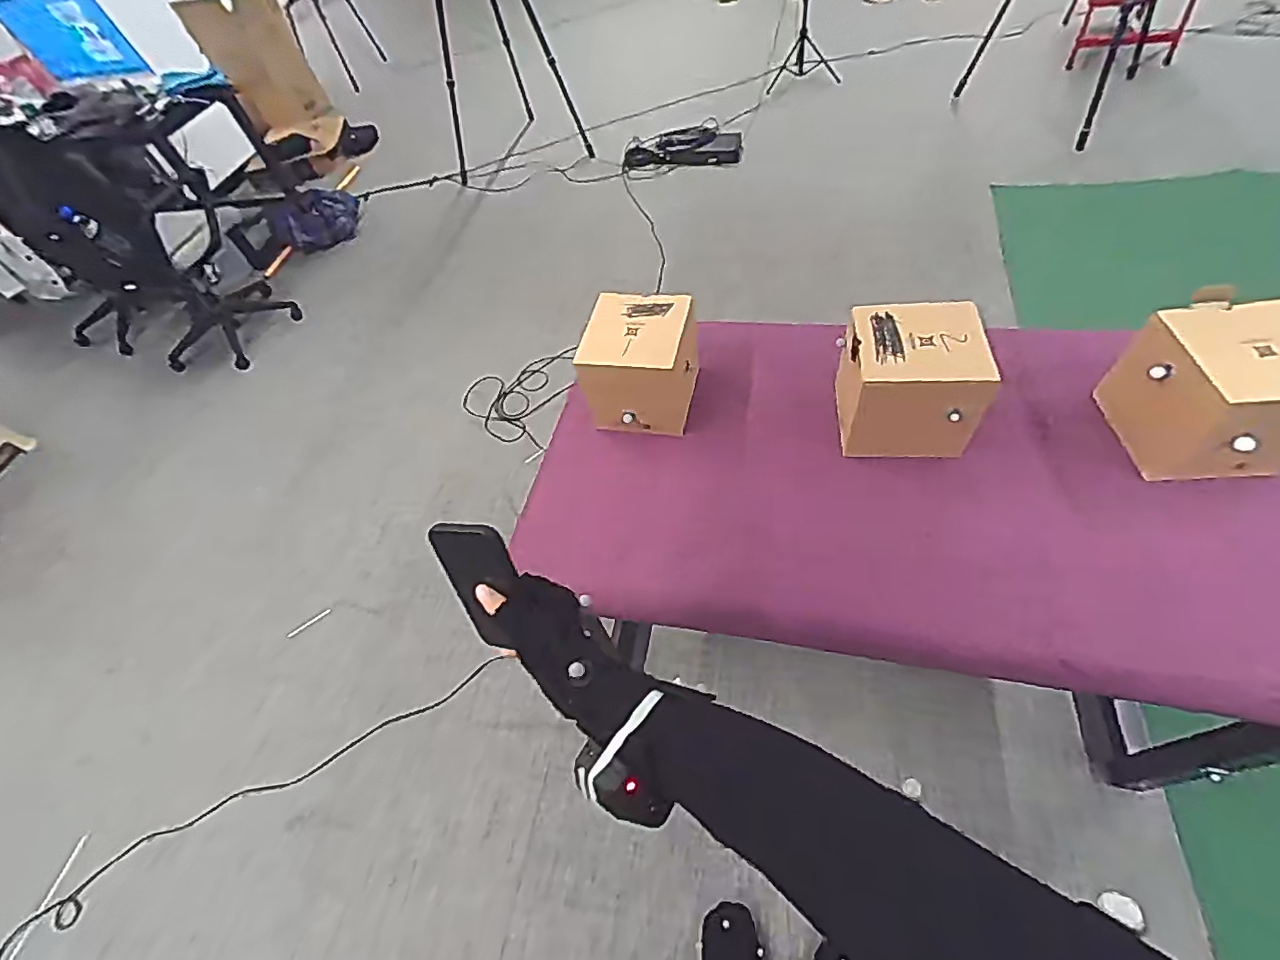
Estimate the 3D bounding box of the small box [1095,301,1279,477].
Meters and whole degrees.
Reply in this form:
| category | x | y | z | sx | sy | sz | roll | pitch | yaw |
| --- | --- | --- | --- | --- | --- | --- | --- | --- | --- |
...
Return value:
| category | x | y | z | sx | sy | sz | roll | pitch | yaw |
| --- | --- | --- | --- | --- | --- | --- | --- | --- | --- |
| small box | 0.785 | -0.114 | 0.740 | 0.168 | 0.176 | 0.179 | -3 | 54 | 9 |

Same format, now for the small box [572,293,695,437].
| category | x | y | z | sx | sy | sz | roll | pitch | yaw |
| --- | --- | --- | --- | --- | --- | --- | --- | --- | --- |
| small box | 0.001 | -0.200 | 0.941 | 0.168 | 0.176 | 0.179 | 6 | 58 | 15 |
